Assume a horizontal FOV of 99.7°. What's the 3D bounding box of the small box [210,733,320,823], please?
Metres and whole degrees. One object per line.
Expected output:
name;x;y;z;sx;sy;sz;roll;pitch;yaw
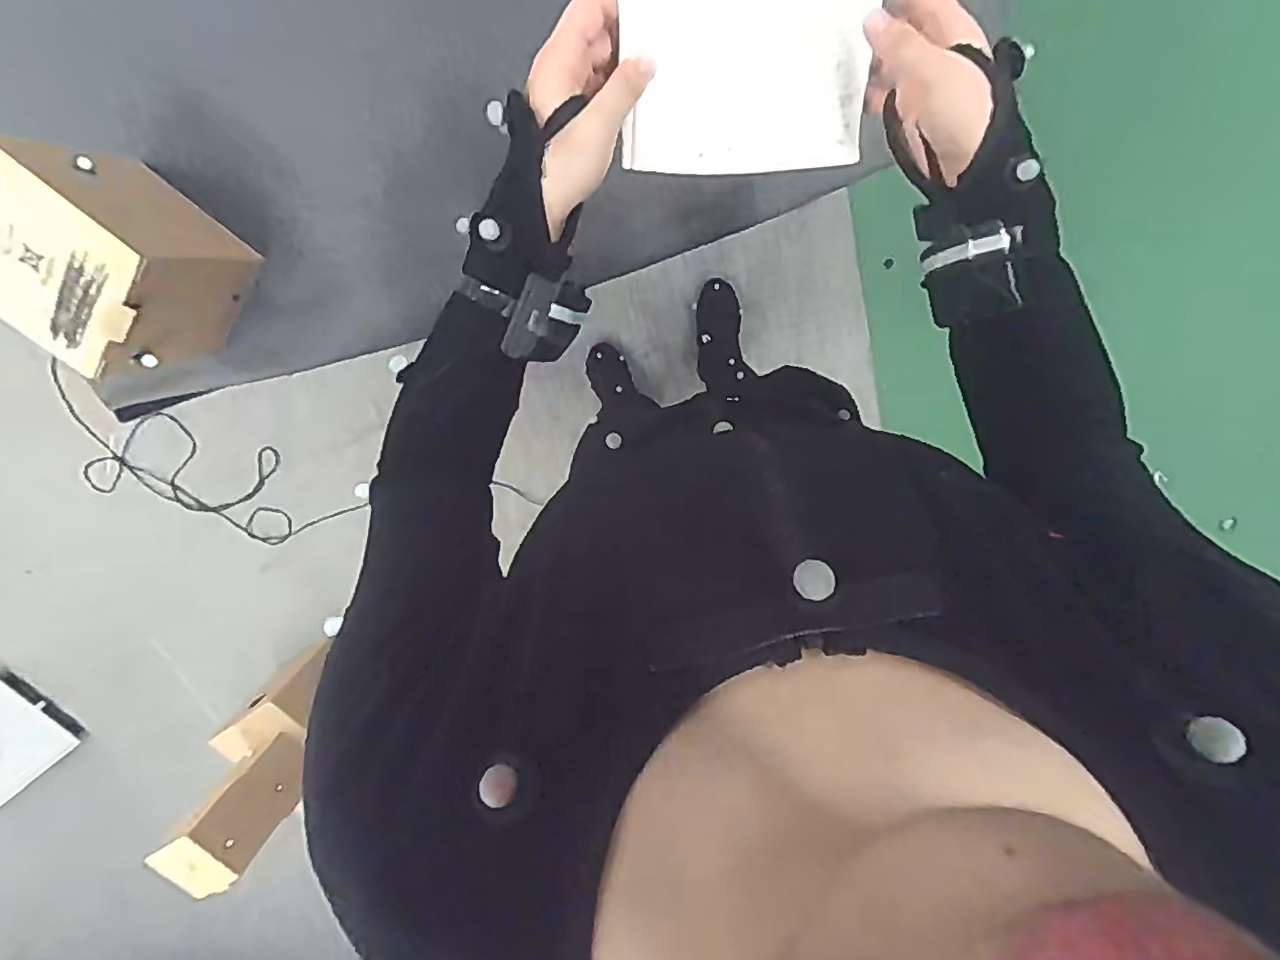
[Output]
small box;-1.077;0.874;1.560;0.168;0.176;0.179;-32;105;15

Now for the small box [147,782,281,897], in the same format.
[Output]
small box;-1.095;0.922;1.405;0.168;0.176;0.179;-32;106;14
